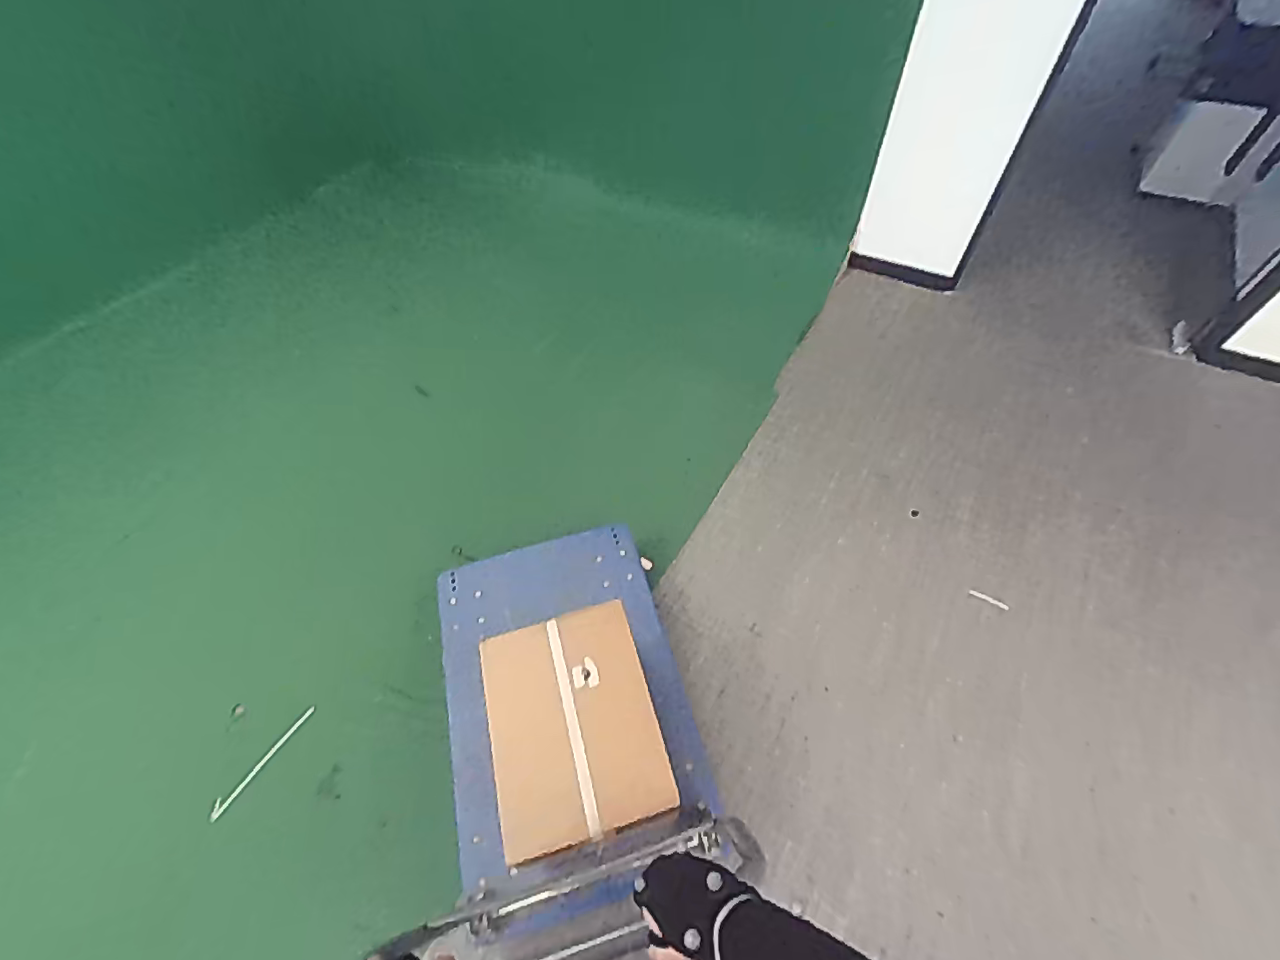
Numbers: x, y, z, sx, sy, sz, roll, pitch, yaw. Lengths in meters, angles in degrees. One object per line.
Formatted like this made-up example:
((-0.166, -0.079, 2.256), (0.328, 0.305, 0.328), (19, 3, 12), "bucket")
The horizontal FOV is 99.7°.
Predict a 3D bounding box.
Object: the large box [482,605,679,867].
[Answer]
((-0.123, 0.553, 1.174), (0.320, 0.320, 0.408), (-15, 54, -7), "large box")
